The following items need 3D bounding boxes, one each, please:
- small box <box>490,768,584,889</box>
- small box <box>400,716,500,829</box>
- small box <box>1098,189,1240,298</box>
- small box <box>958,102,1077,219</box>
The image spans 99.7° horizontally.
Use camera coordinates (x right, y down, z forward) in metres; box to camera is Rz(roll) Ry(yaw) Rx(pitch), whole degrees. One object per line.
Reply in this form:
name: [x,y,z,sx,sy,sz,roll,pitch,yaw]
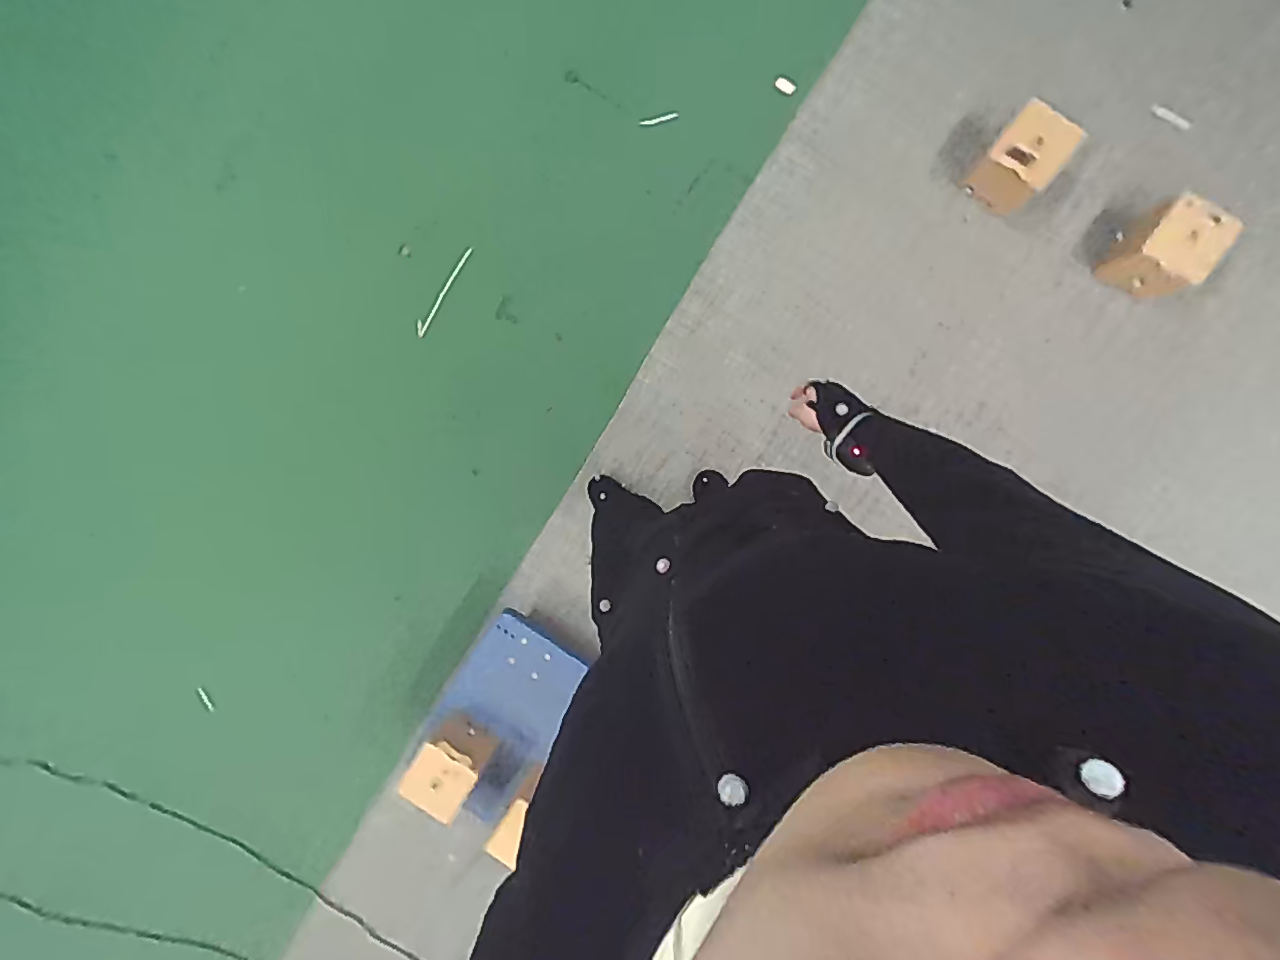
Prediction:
small box: [-0.271,0.938,1.471,0.168,0.176,0.179,33,94,3]
small box: [-0.510,0.793,1.483,0.168,0.176,0.179,32,95,2]
small box: [1.358,-0.603,1.409,0.168,0.176,0.179,34,96,3]
small box: [0.995,-0.845,1.451,0.168,0.176,0.179,37,95,2]
